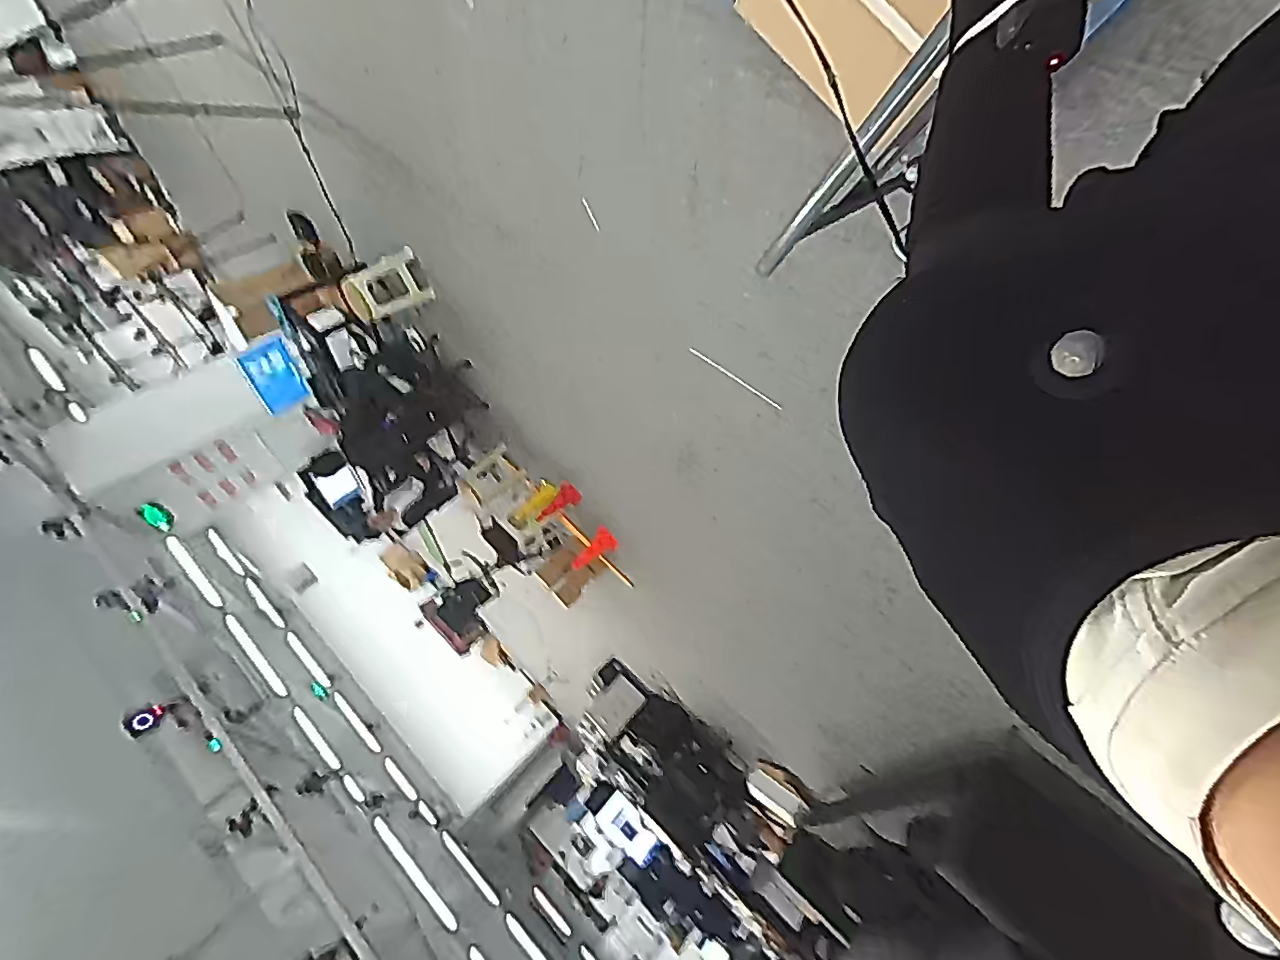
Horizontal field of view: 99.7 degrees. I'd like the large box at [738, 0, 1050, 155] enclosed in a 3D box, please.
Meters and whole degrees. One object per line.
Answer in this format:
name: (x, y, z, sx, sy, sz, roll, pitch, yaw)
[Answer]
large box: (0.464, -0.876, 0.941, 0.408, 0.320, 0.320, 49, 151, 2)
